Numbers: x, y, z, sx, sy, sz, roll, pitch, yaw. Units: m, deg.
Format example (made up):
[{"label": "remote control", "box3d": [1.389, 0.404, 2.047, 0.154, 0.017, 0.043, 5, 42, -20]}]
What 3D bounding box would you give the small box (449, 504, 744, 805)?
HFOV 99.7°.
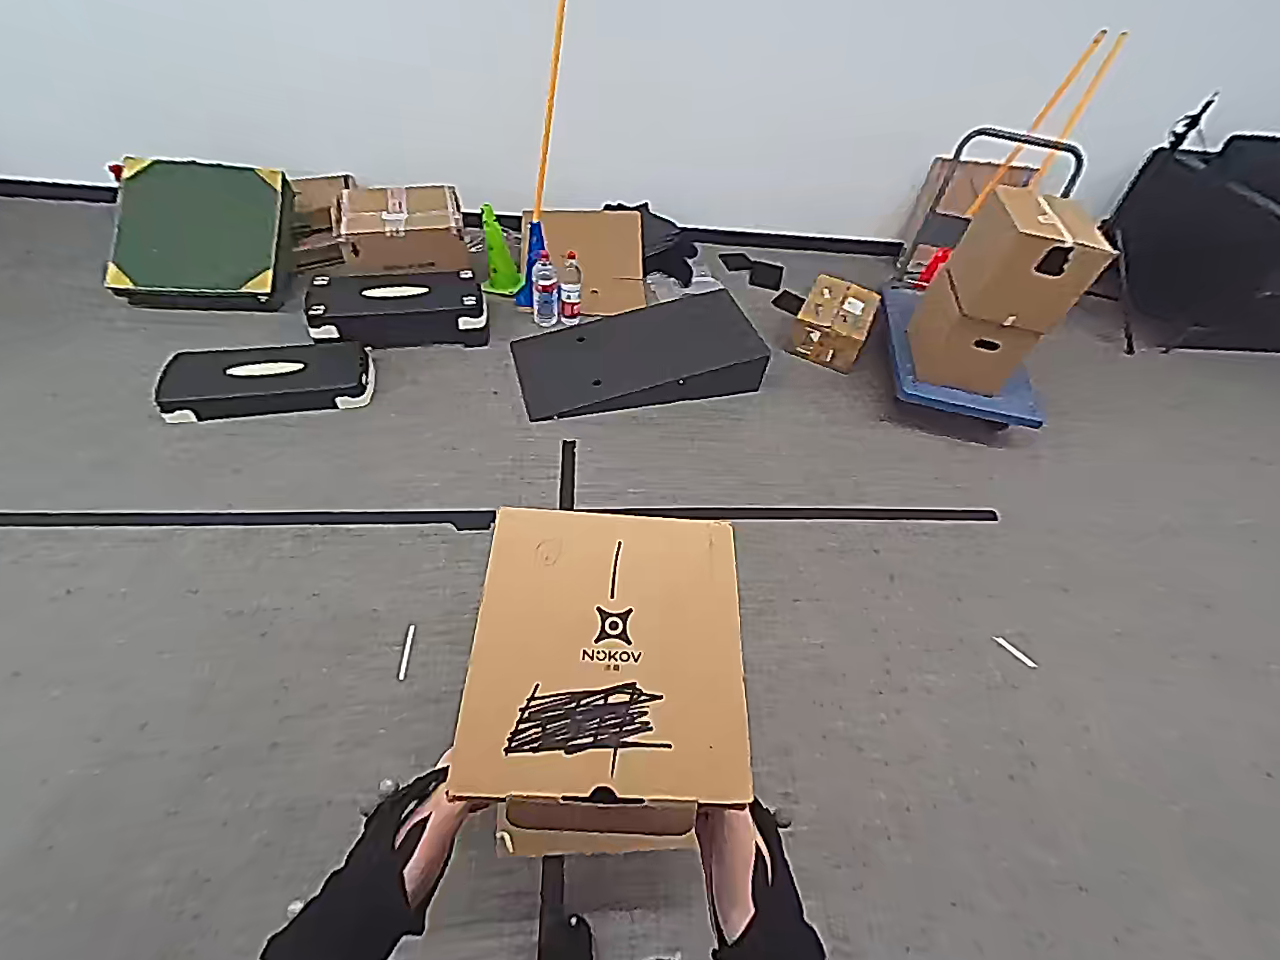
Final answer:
[{"label": "small box", "box3d": [-0.027, 0.137, 0.404, 0.168, 0.176, 0.179, 5, 59, -4]}]
